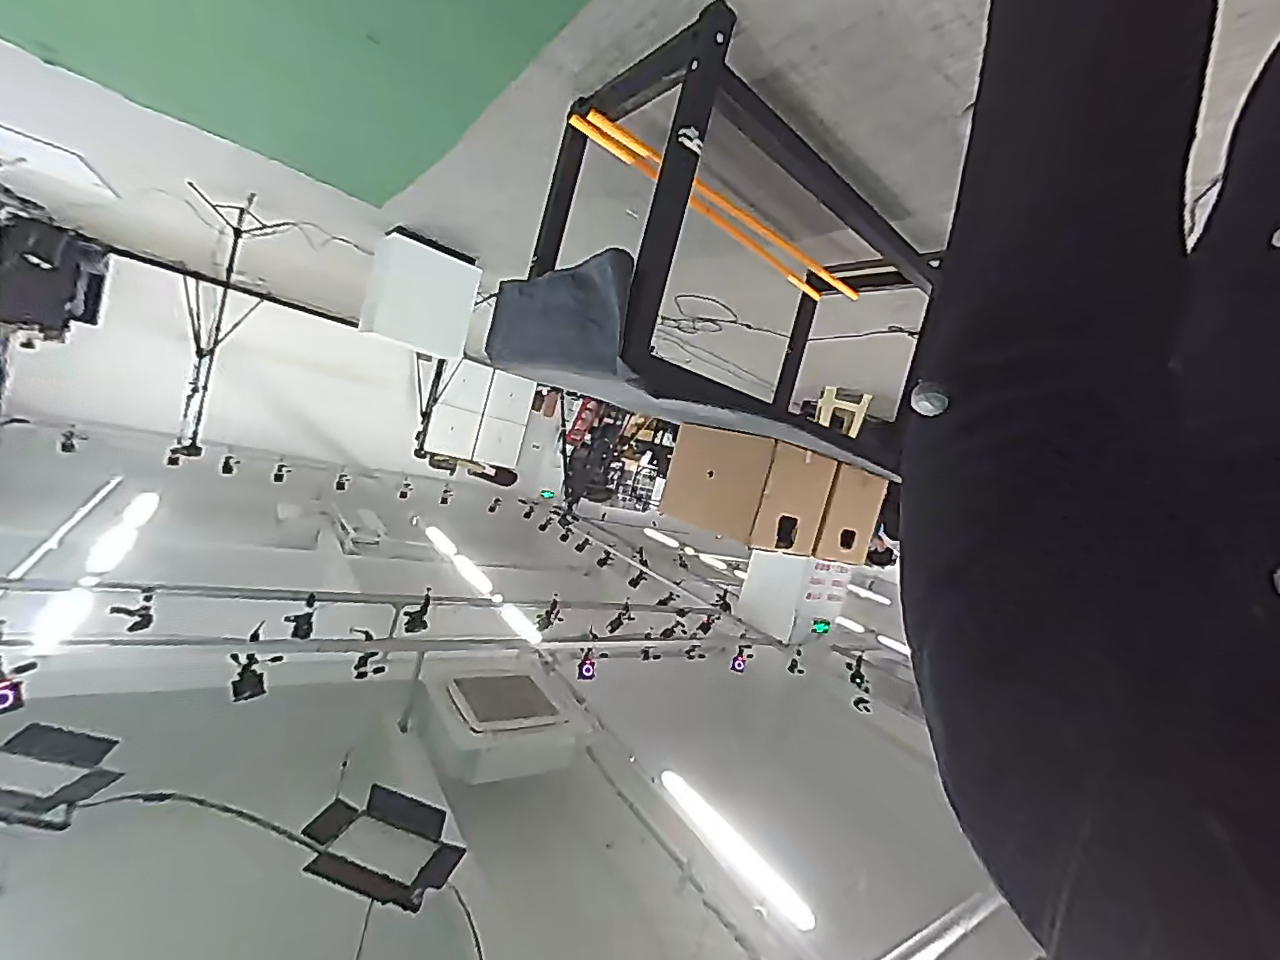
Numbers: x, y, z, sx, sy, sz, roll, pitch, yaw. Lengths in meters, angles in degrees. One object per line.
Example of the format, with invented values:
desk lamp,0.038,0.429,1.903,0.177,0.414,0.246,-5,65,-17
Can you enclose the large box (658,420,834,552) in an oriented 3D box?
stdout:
large box,0.322,0.009,1.700,0.320,0.320,0.408,12,-177,-37
